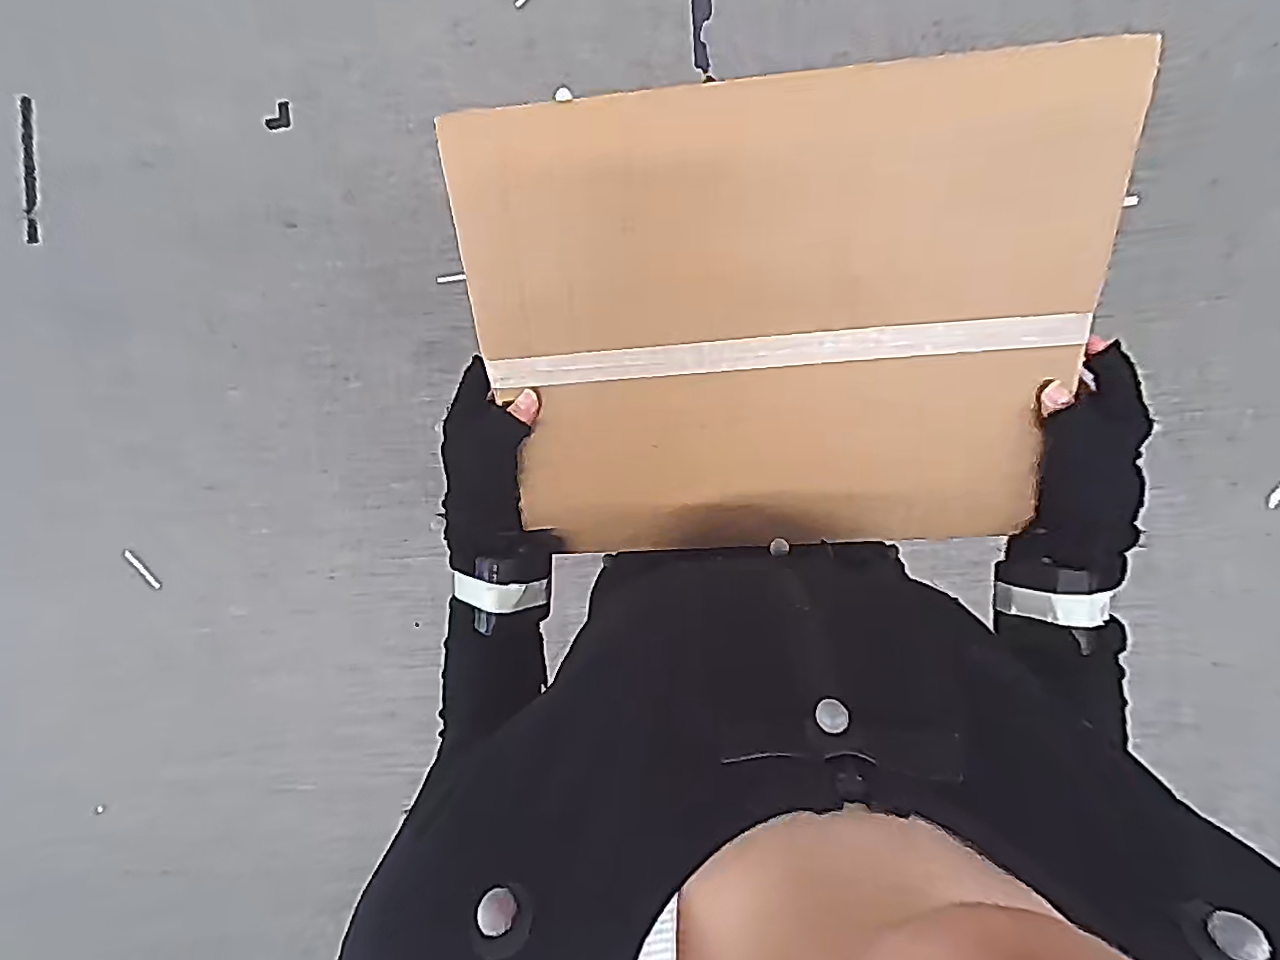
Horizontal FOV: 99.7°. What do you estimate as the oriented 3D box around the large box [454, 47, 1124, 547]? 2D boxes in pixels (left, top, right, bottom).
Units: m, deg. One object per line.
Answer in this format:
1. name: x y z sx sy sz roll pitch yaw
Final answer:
1. large box: 0.098 -0.156 0.518 0.408 0.320 0.320 -3 116 5
